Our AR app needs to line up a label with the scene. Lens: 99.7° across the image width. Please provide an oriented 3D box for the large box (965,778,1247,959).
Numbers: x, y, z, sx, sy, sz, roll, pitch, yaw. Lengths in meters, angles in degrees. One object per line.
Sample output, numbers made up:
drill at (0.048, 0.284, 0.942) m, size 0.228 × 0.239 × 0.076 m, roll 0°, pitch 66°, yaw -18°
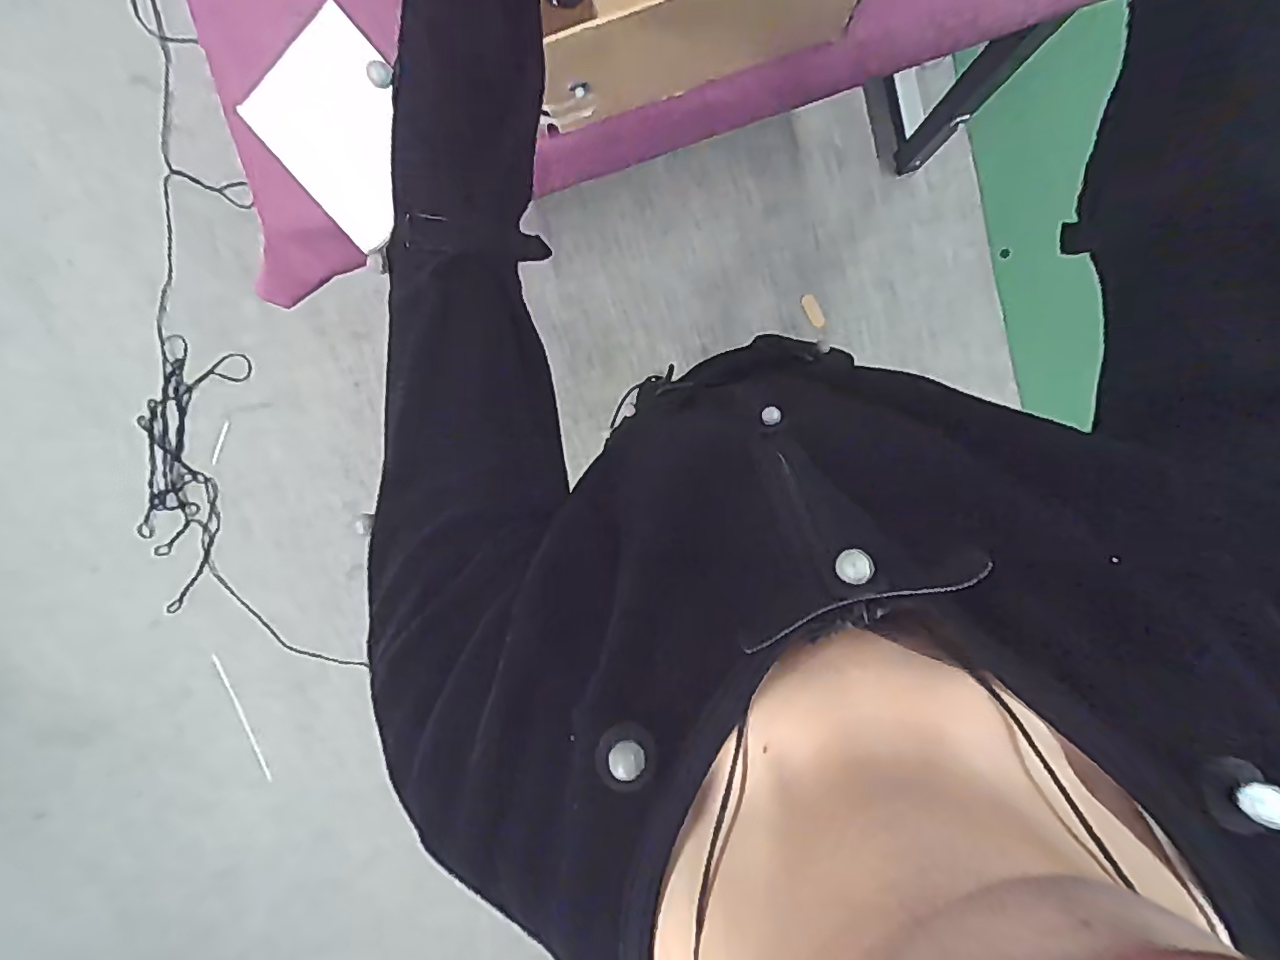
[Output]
large box at (1.167, 1.072, 1.400) m, size 0.408 × 0.320 × 0.320 m, roll -30°, pitch 95°, yaw 8°
